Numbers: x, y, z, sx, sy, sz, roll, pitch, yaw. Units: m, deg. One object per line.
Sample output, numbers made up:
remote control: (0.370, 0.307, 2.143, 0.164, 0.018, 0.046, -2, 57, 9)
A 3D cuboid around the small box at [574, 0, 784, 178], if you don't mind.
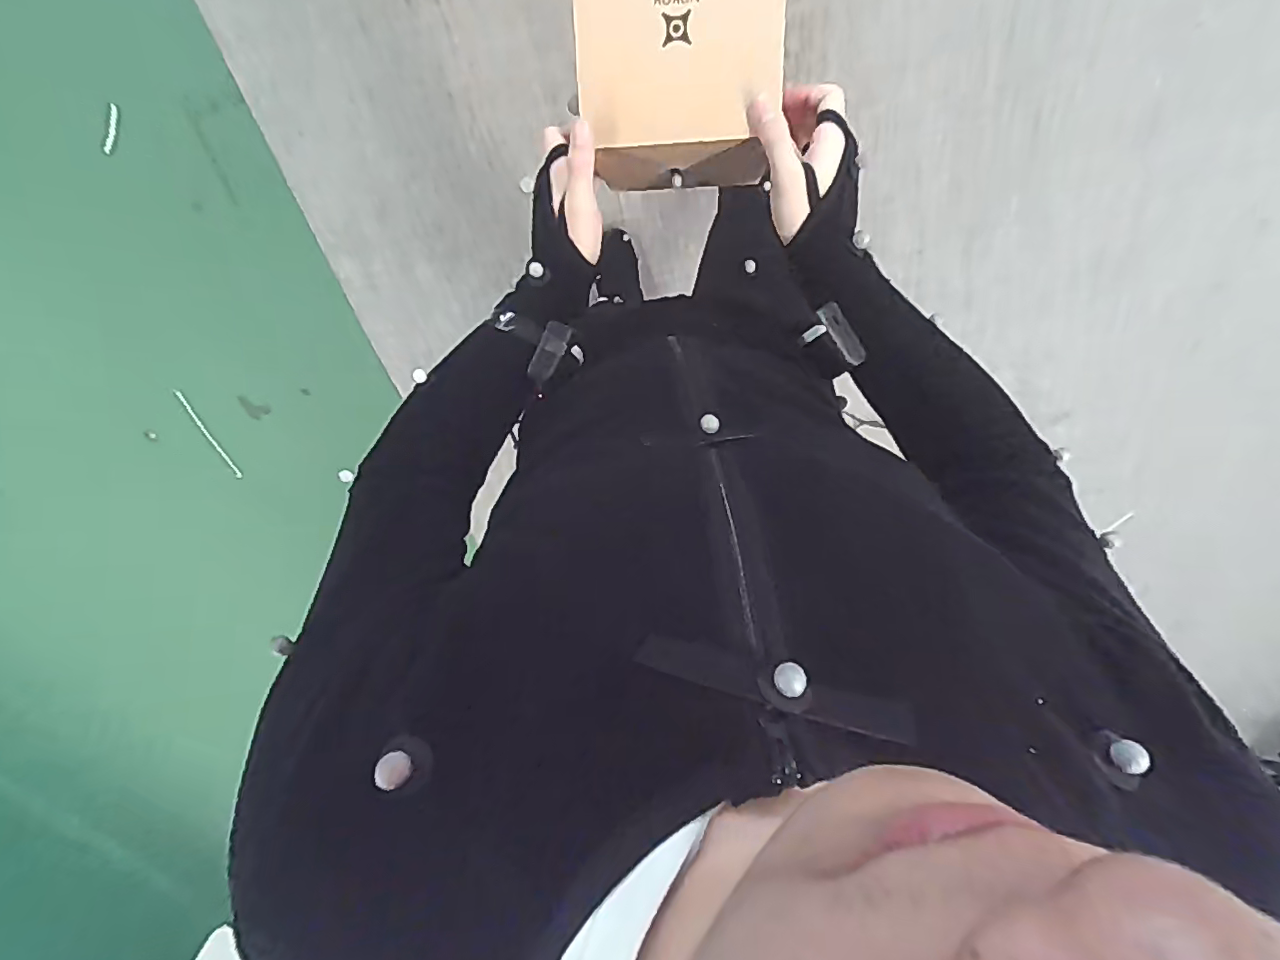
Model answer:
small box: (0.038, -0.389, 0.495, 0.168, 0.176, 0.179, 0, 107, 6)
